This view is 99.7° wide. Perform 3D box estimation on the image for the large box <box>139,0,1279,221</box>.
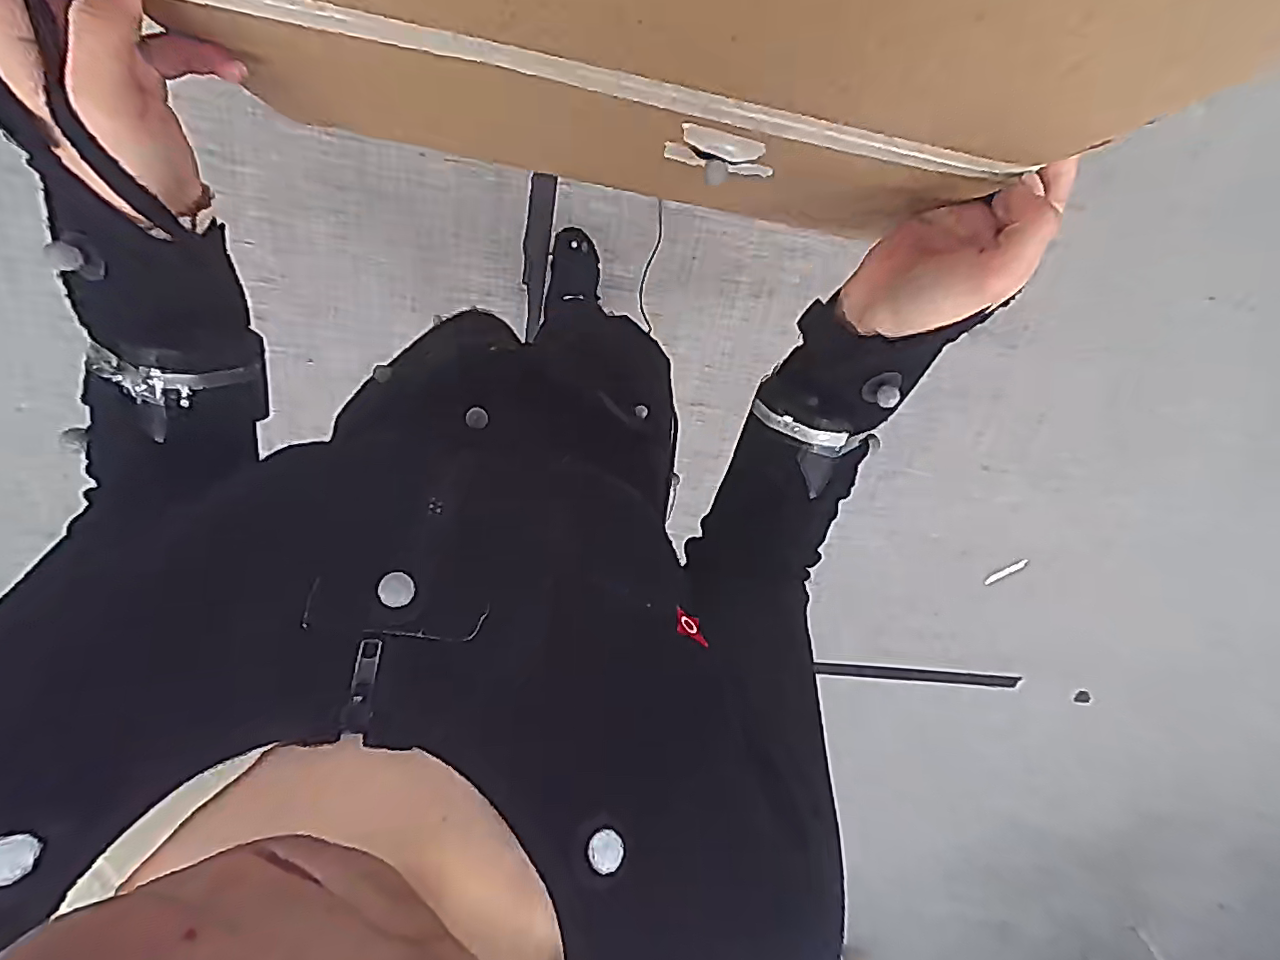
[{"bbox_3d":[0.000,-0.325,0.194,0.408,0.320,0.320,8,104,-5],"label":"large box"}]
